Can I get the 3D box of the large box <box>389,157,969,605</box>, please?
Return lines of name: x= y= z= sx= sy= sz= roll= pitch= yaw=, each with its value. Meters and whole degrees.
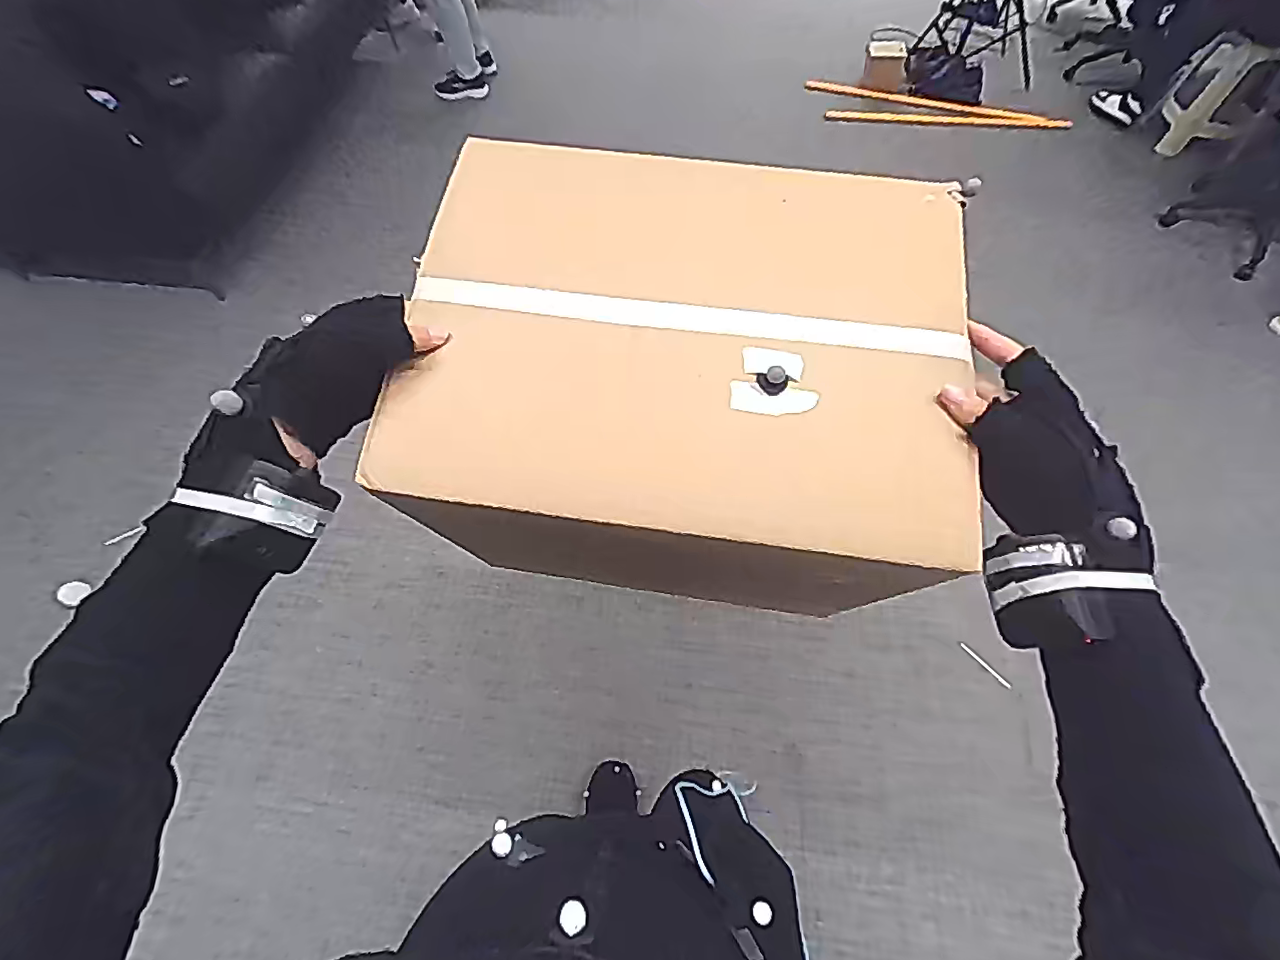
large box: x=0.039 y=-0.067 z=0.552 sx=0.408 sy=0.320 sz=0.320 roll=8 pitch=72 yaw=3
